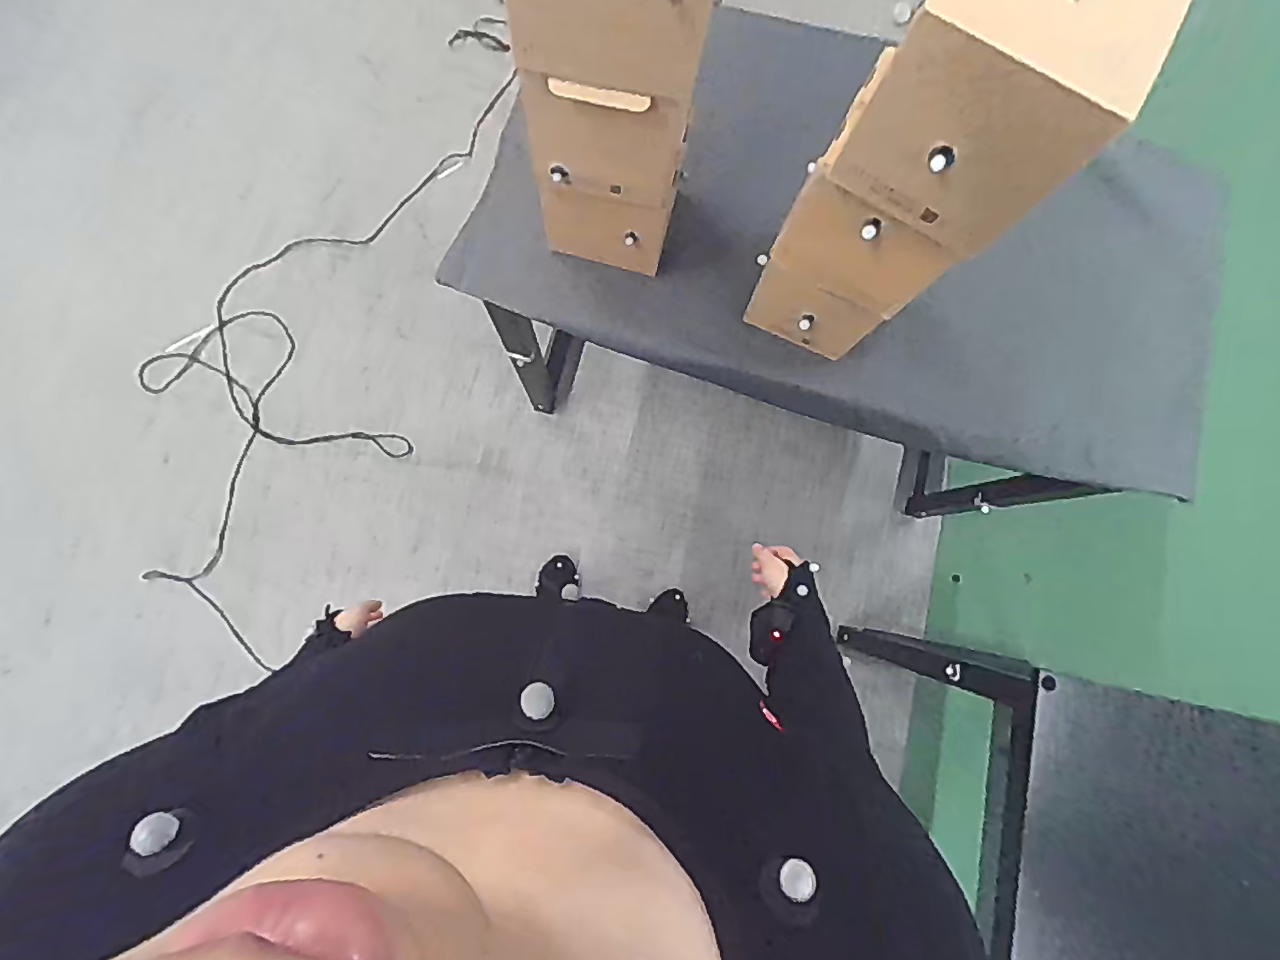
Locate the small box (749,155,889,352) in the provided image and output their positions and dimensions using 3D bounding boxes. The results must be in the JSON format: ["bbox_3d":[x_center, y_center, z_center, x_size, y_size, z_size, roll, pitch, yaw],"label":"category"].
[{"bbox_3d":[0.272,-0.313,0.784,0.168,0.176,0.179,23,81,1],"label":"small box"}]

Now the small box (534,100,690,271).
[{"bbox_3d":[-0.039,-0.430,0.784,0.179,0.176,0.168,13,79,-1],"label":"small box"}]

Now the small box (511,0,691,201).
[{"bbox_3d":[-0.038,-0.458,0.622,0.168,0.176,0.179,9,79,-3],"label":"small box"}]

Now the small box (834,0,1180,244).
[{"bbox_3d":[0.291,-0.342,0.457,0.168,0.176,0.179,30,80,2],"label":"small box"}]

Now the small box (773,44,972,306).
[{"bbox_3d":[0.283,-0.329,0.622,0.179,0.176,0.168,28,80,2],"label":"small box"}]
